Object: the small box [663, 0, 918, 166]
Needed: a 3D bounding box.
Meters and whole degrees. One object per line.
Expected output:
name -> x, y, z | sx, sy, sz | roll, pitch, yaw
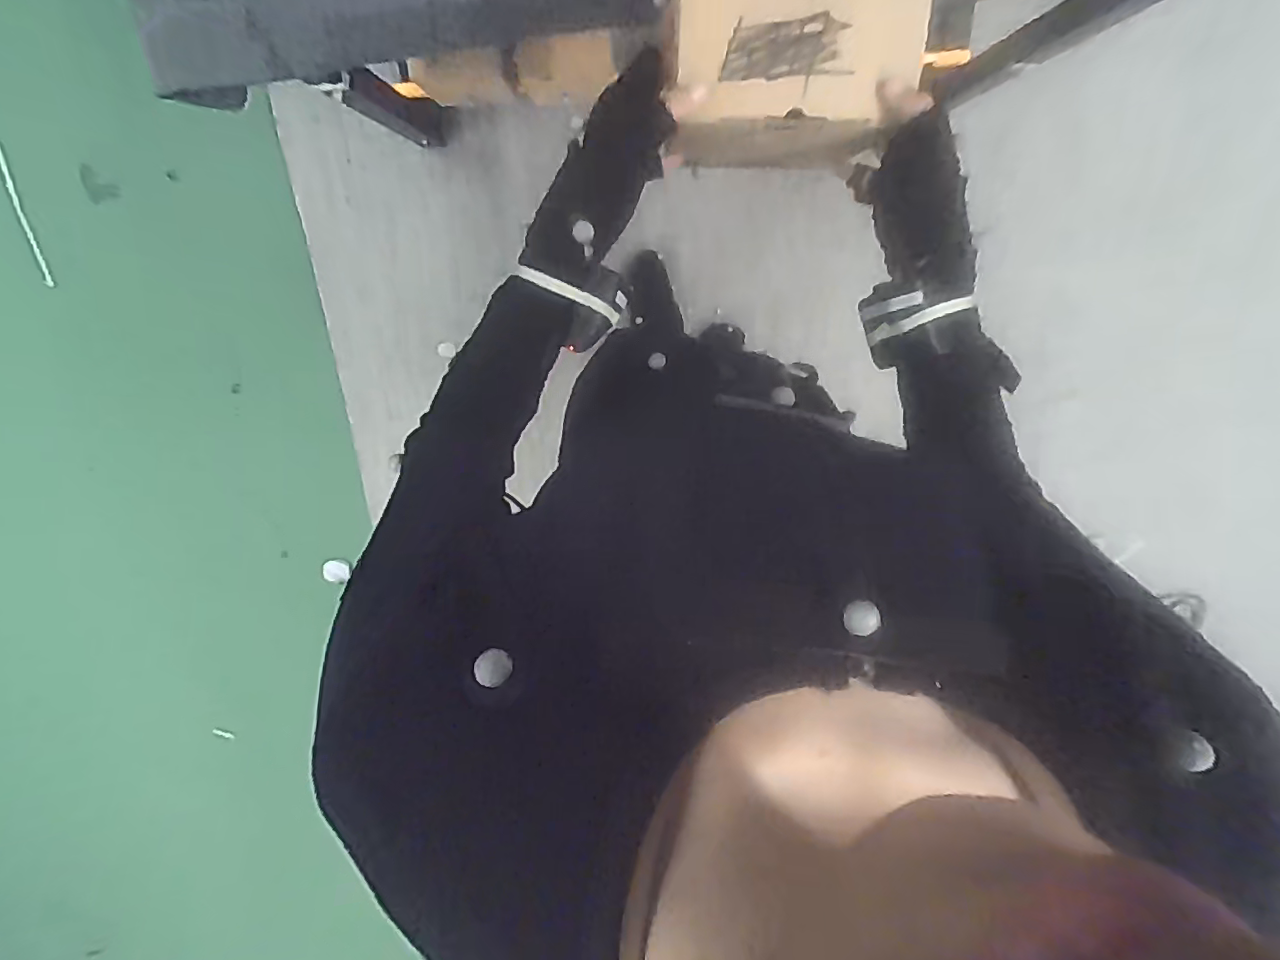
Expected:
small box -> 0.106, -0.366, 0.433 | 0.168, 0.176, 0.179 | 1, 109, -1
